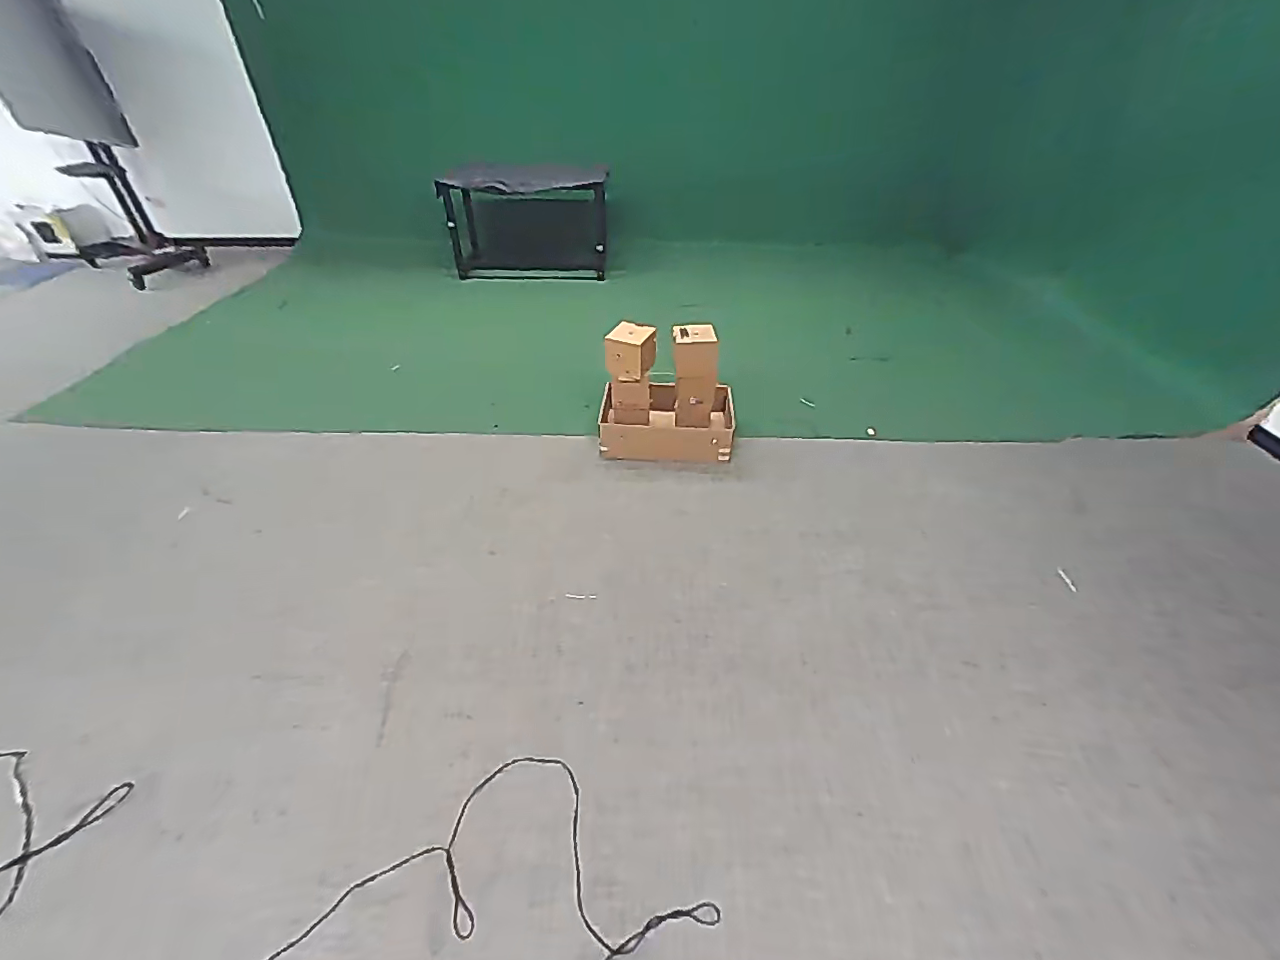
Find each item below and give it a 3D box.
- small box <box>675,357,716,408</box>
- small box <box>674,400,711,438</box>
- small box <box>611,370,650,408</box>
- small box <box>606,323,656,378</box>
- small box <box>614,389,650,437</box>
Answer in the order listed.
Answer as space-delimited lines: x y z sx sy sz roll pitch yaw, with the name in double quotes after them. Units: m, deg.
0.253 -0.448 2.486 0.168 0.176 0.179 -3 42 -1 "small box"
0.254 -0.324 2.592 0.168 0.176 0.179 4 40 6 "small box"
-0.041 -0.444 2.471 0.168 0.176 0.179 3 39 1 "small box"
-0.036 -0.564 2.362 0.168 0.176 0.179 17 41 18 "small box"
-0.038 -0.324 2.584 0.168 0.176 0.179 1 40 0 "small box"
